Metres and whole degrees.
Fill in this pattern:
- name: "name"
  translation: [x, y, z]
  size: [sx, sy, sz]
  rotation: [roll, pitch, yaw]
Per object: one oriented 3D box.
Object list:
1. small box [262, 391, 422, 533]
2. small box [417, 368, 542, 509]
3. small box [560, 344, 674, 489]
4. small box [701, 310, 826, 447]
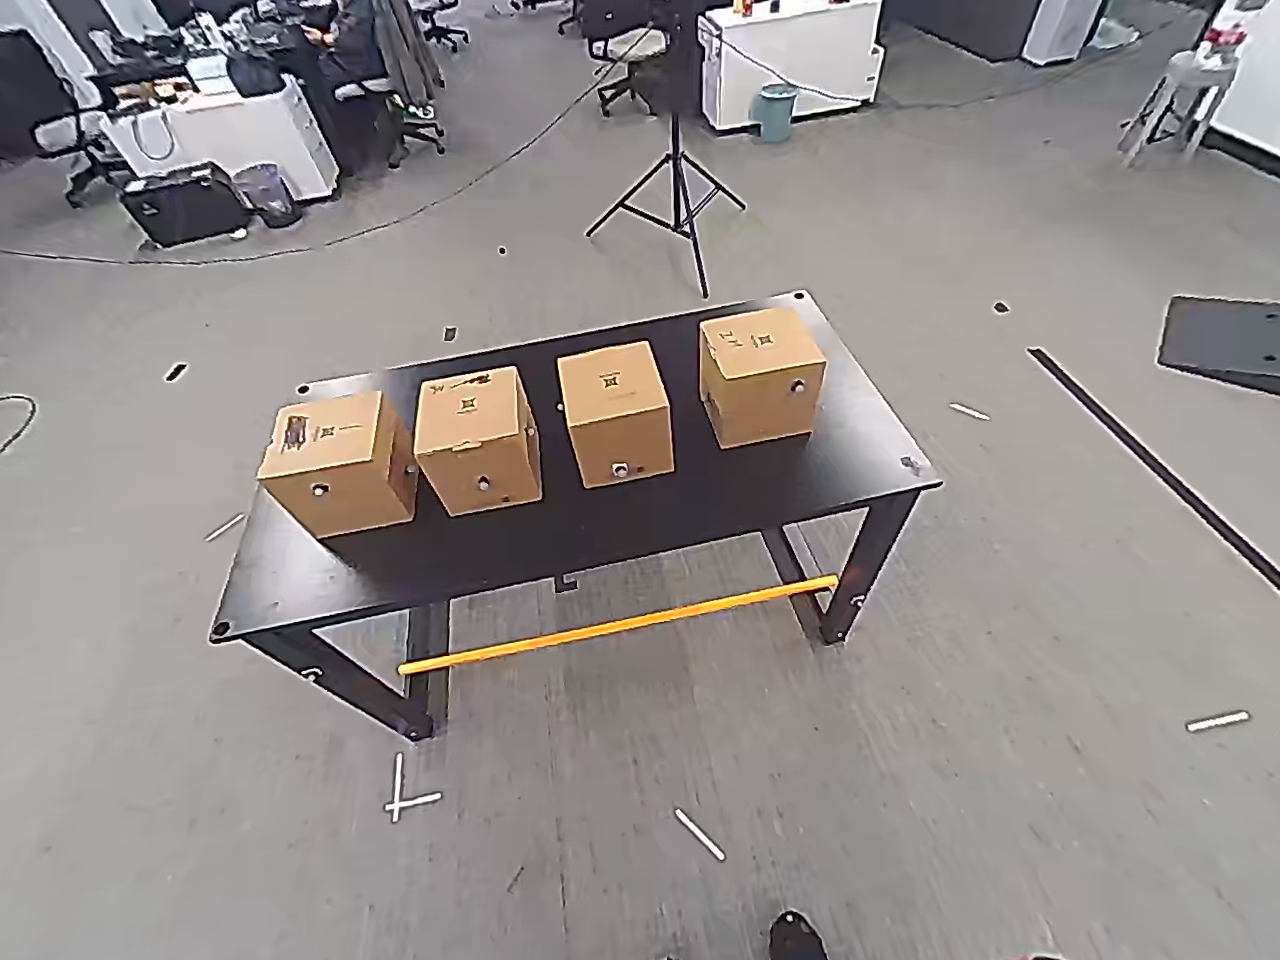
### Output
- name: "small box"
  translation: [-0.501, -0.026, 0.940]
  size: [0.179, 0.176, 0.168]
  rotation: [-11, 52, -4]
- name: "small box"
  translation: [-0.272, -0.065, 0.950]
  size: [0.168, 0.176, 0.179]
  rotation: [-10, 52, -3]
- name: "small box"
  translation: [-0.039, -0.111, 0.965]
  size: [0.168, 0.176, 0.179]
  rotation: [-13, 52, -3]
- name: "small box"
  translation: [0.214, -0.182, 0.991]
  size: [0.179, 0.176, 0.168]
  rotation: [-10, 51, -2]
